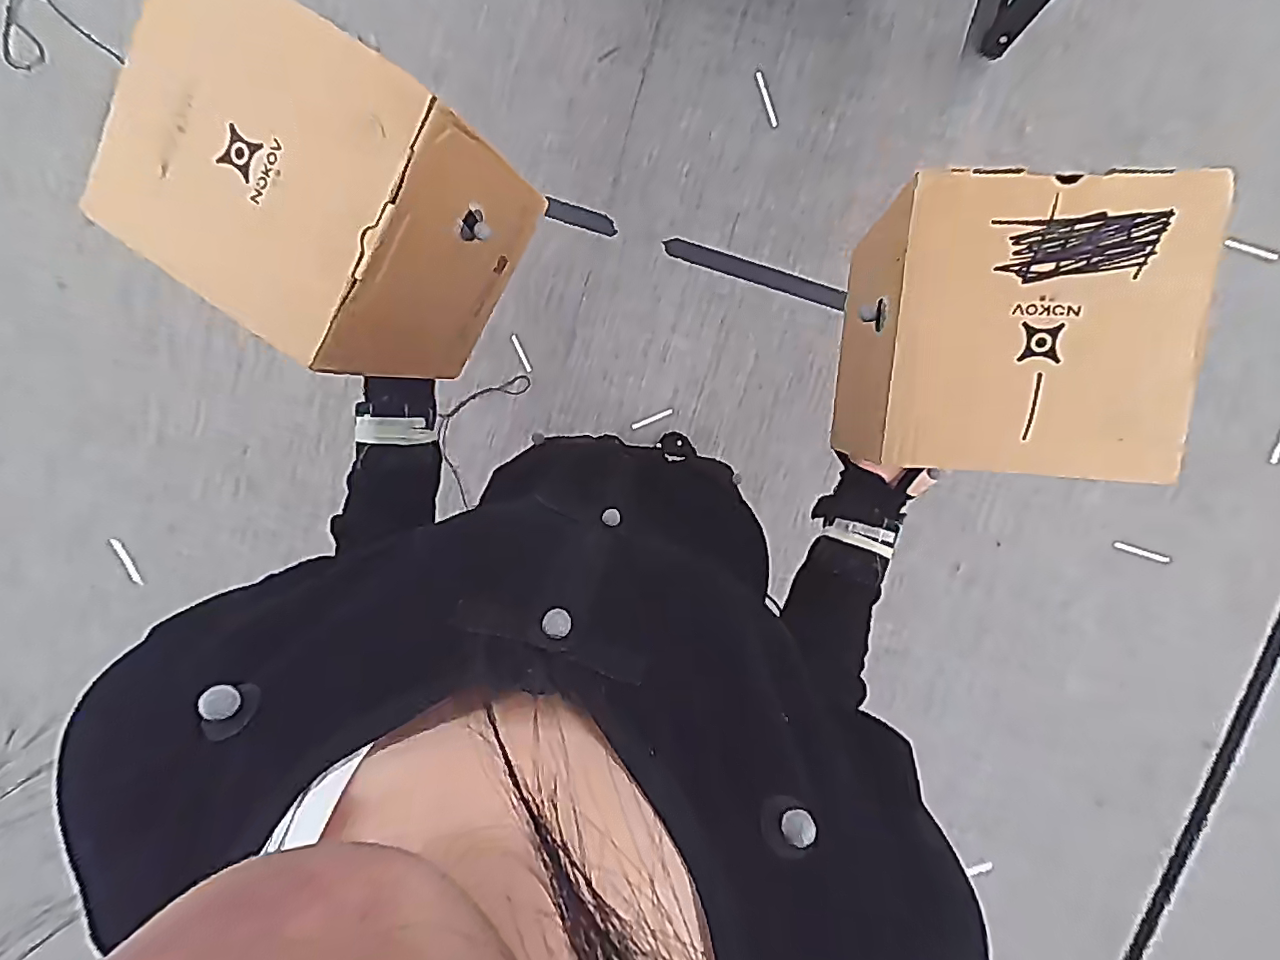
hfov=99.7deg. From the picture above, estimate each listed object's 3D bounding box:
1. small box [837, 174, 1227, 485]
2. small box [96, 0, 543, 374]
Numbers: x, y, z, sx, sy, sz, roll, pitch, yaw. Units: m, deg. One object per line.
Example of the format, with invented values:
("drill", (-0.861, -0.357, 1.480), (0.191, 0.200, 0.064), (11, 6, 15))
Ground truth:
("small box", (0.252, -0.098, 0.399), (0.168, 0.176, 0.179), (5, 97, 8))
("small box", (-0.195, -0.188, 0.377), (0.179, 0.176, 0.168), (34, 102, 4))
